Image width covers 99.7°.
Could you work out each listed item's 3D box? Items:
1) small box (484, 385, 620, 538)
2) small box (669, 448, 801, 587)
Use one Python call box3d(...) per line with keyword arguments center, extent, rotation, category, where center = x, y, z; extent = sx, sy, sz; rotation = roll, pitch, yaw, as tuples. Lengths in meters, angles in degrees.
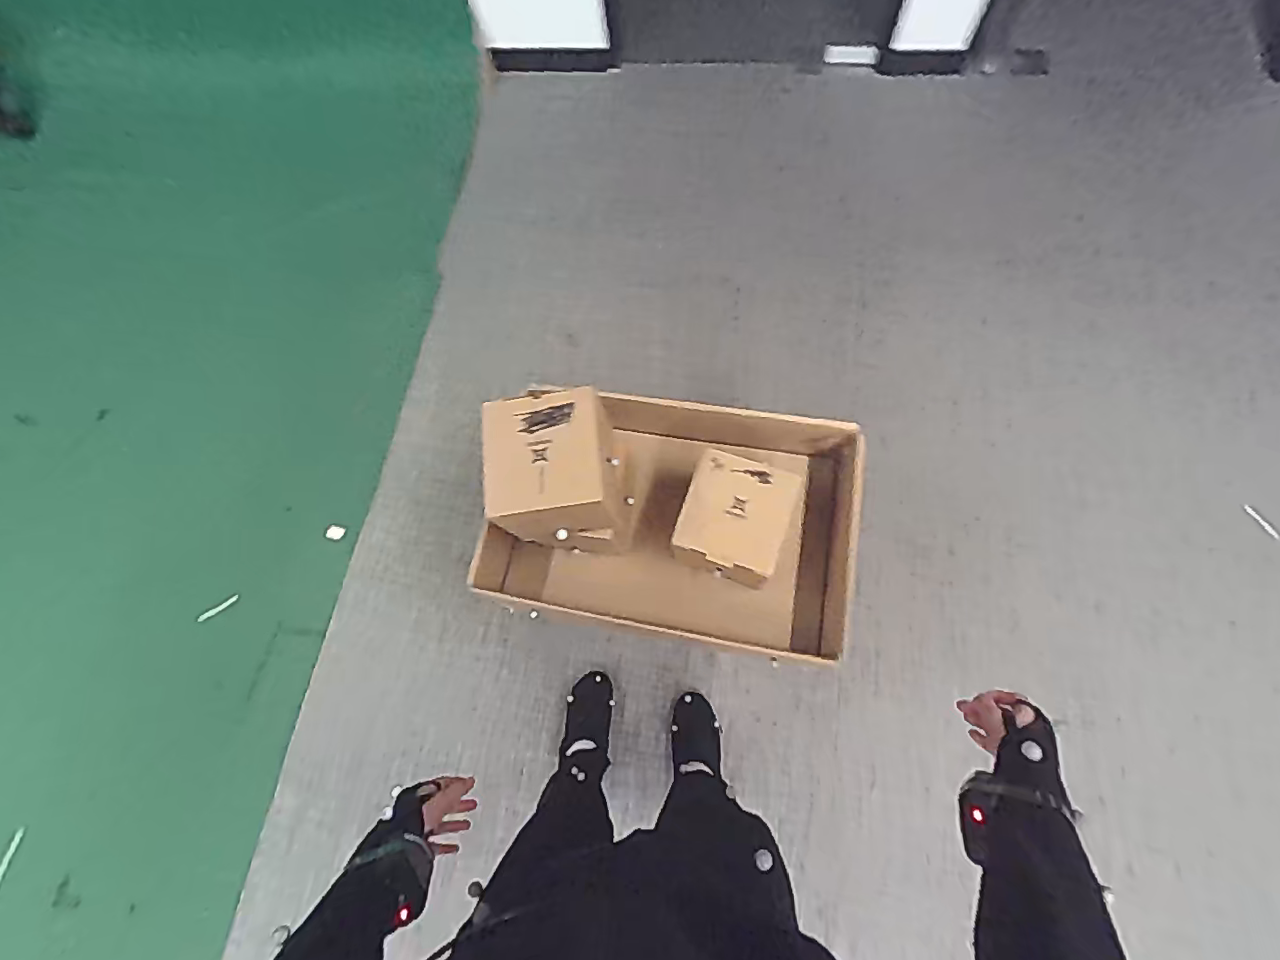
box3d(center=(-0.126, -0.021, 0.820), extent=(0.168, 0.176, 0.179), rotation=(-7, 72, 5), category="small box")
box3d(center=(0.161, 0.073, 0.931), extent=(0.168, 0.176, 0.179), rotation=(20, 75, 11), category="small box")
